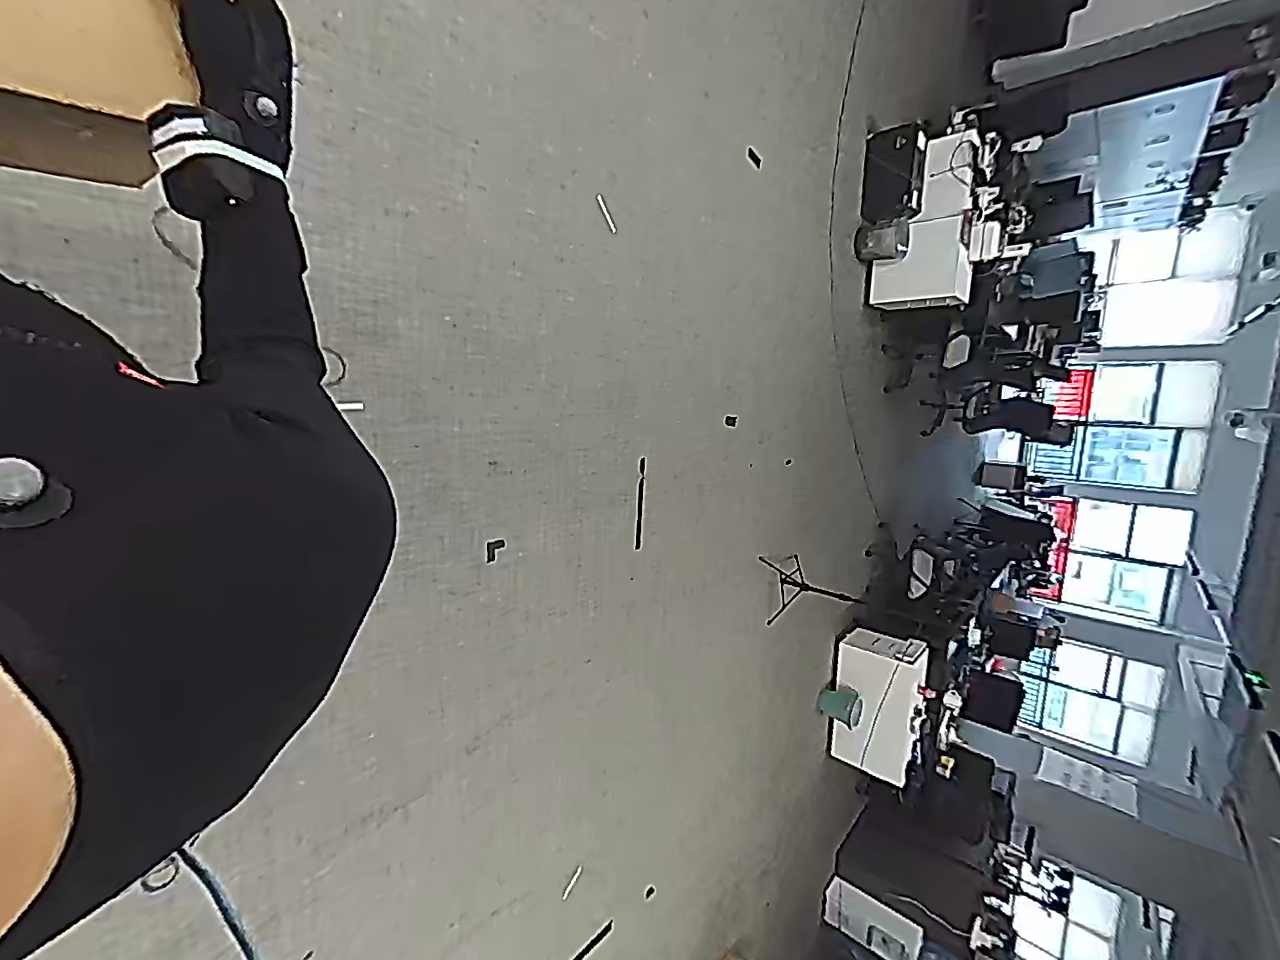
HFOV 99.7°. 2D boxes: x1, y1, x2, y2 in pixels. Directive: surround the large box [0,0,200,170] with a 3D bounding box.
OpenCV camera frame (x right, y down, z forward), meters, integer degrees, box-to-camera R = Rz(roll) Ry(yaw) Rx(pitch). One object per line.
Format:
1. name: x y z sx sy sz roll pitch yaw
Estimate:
1. large box: -0.584 -0.425 0.331 0.408 0.320 0.320 -16 115 -48
